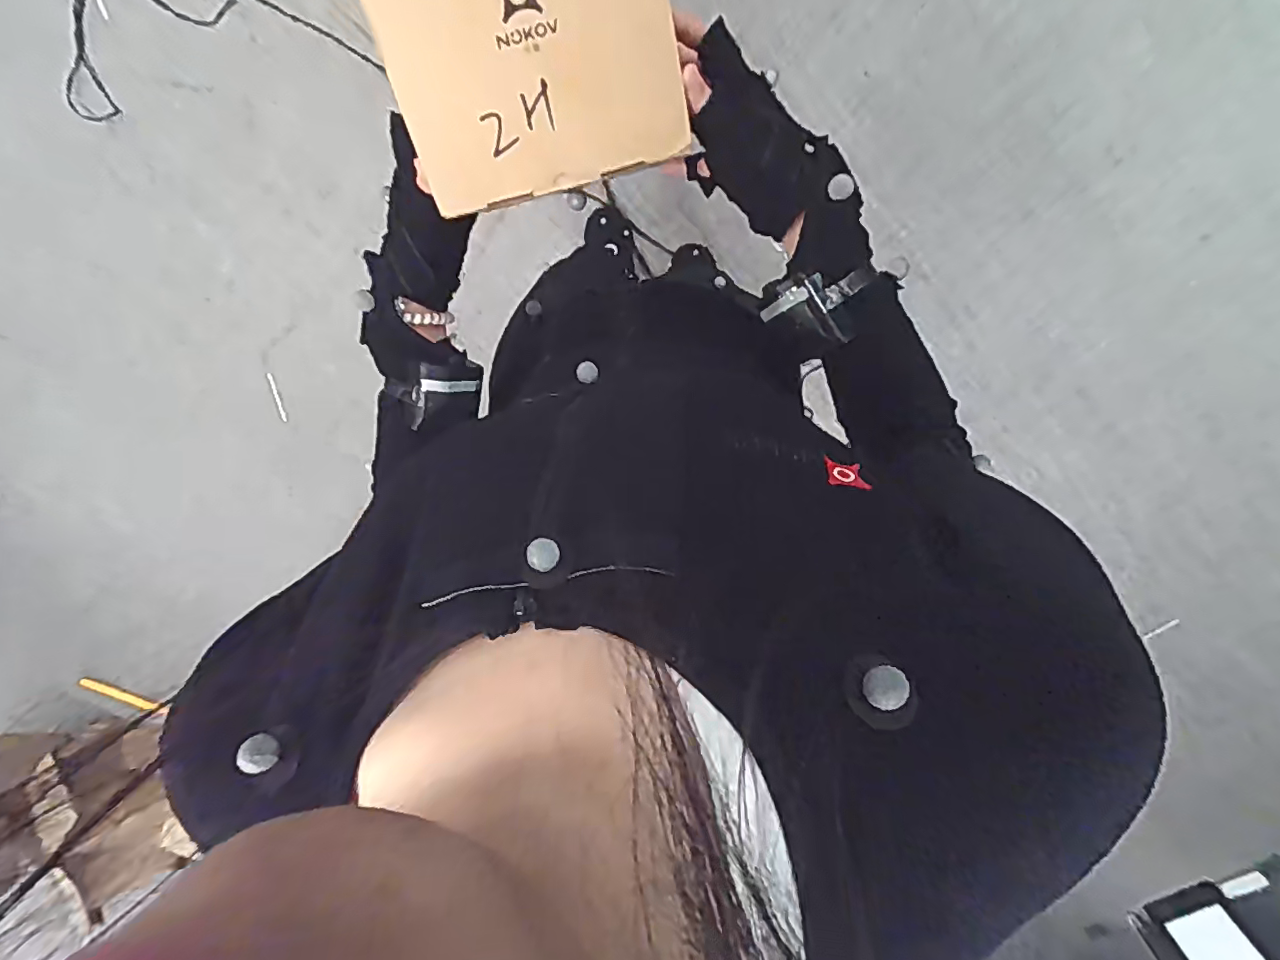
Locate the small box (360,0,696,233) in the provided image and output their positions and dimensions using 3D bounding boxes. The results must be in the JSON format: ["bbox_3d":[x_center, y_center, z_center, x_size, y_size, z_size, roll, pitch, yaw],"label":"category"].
[{"bbox_3d":[-0.067,-0.281,0.365,0.168,0.176,0.179,-13,119,3],"label":"small box"}]
